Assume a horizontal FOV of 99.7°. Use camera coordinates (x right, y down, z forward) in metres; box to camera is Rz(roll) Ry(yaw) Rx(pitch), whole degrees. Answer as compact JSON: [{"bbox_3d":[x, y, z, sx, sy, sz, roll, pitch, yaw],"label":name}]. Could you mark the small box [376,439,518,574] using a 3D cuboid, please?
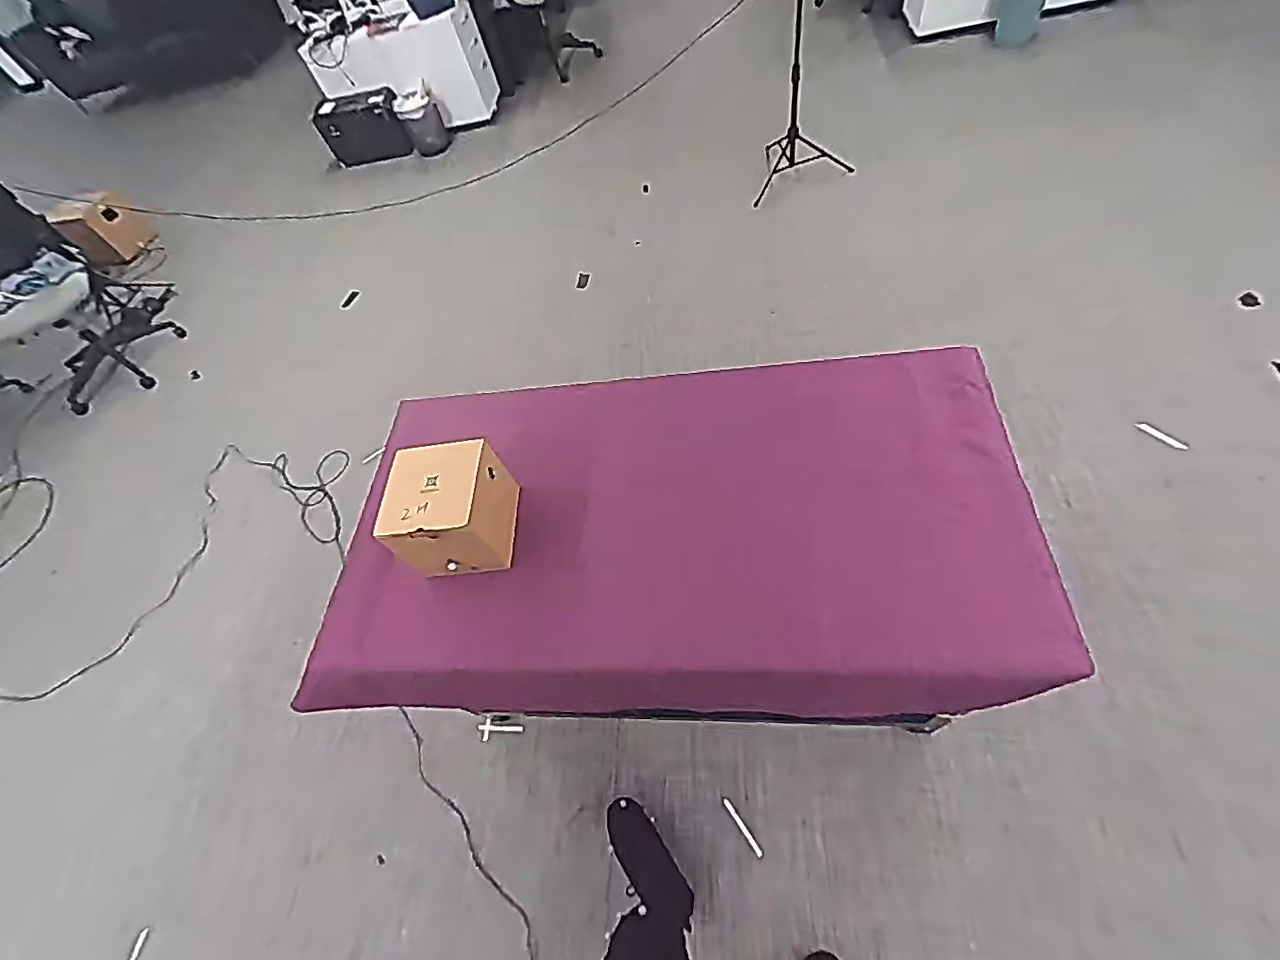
[{"bbox_3d":[-0.330,0.051,0.966,0.168,0.176,0.179,-6,57,9],"label":"small box"}]
